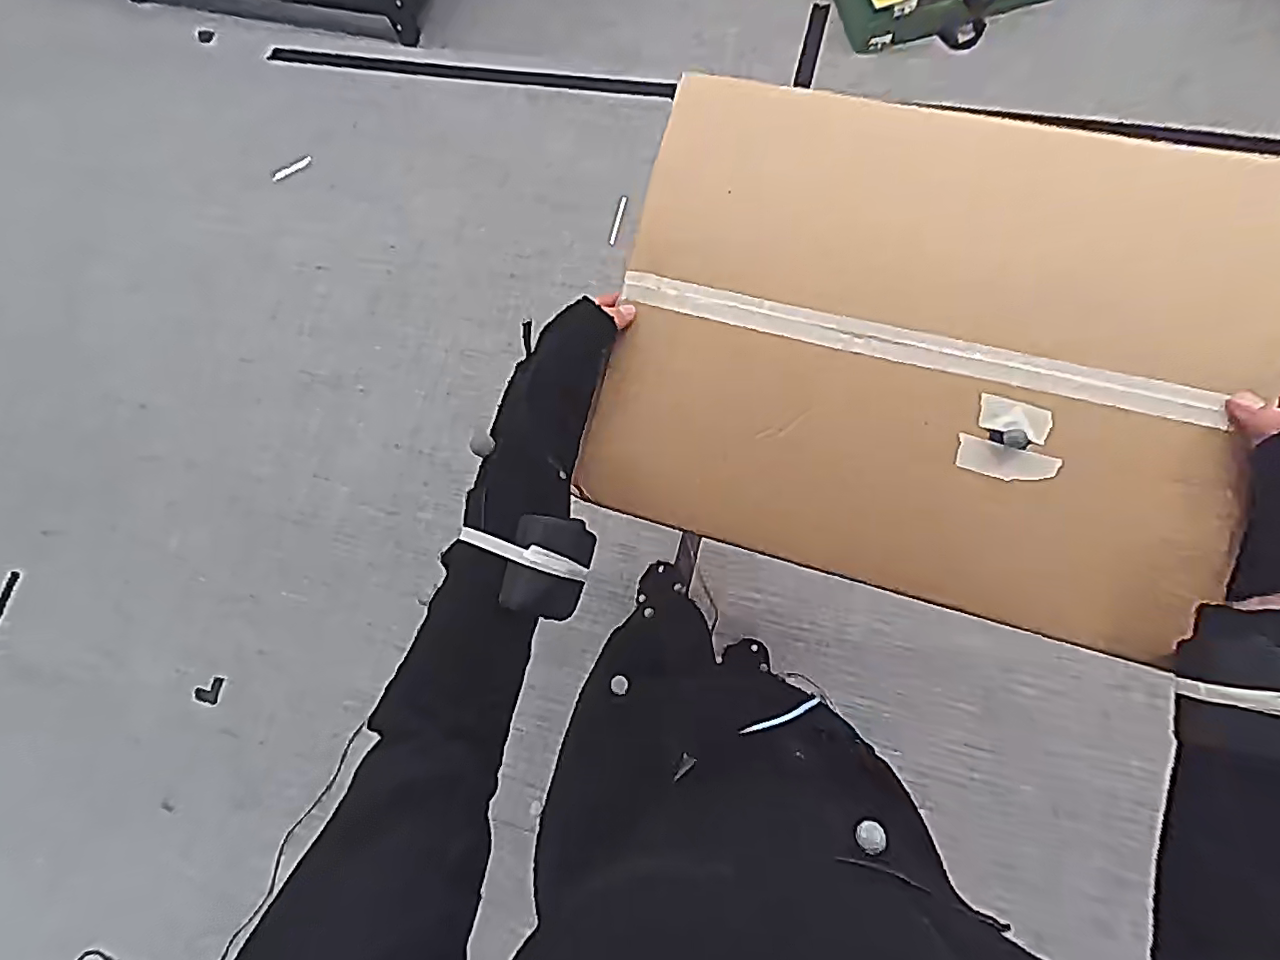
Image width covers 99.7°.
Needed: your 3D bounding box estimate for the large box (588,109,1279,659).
[{"bbox_3d":[0.205,-0.075,0.516,0.408,0.320,0.320,15,91,9],"label":"large box"}]
